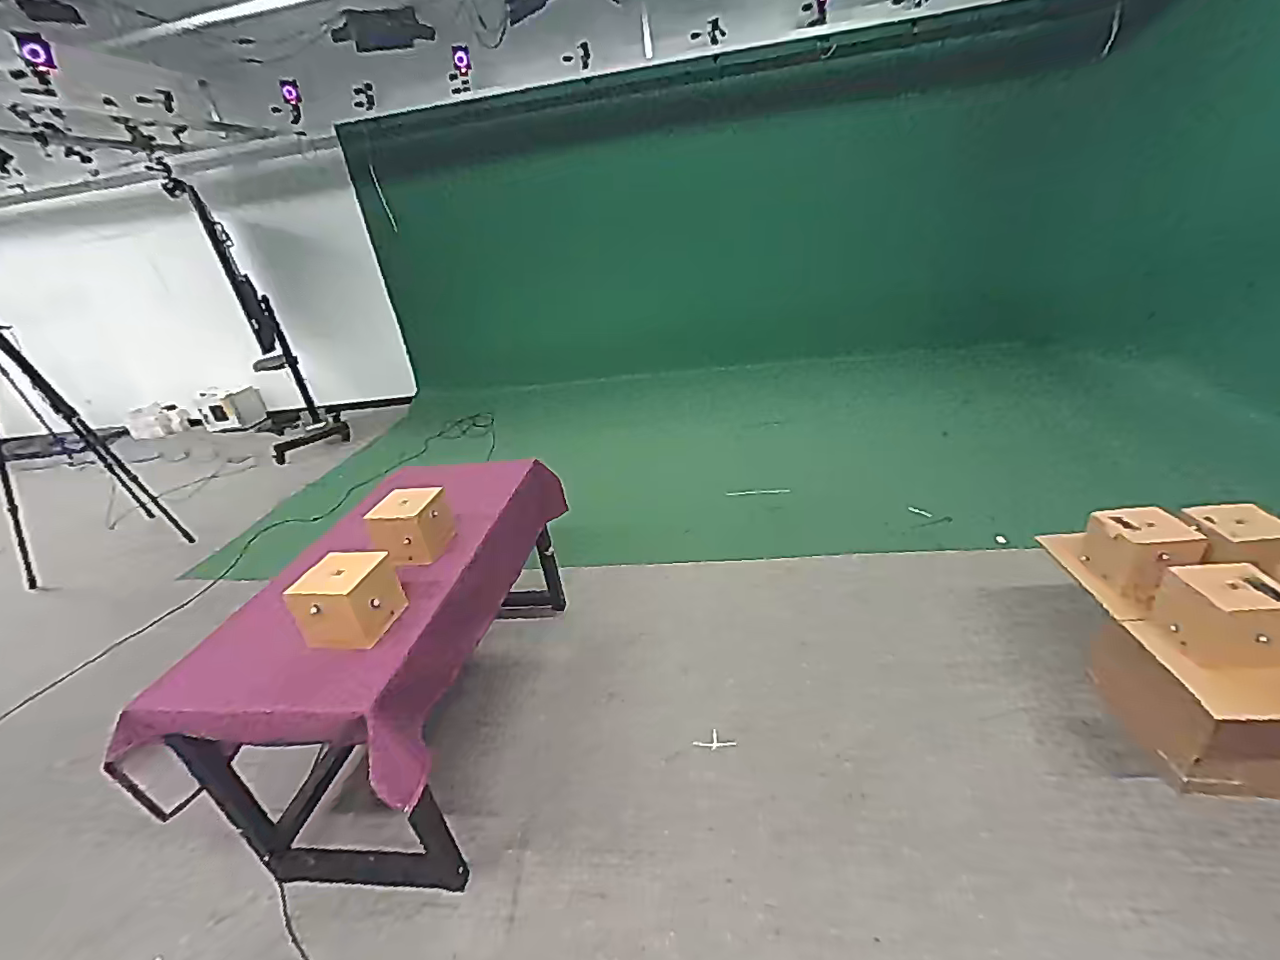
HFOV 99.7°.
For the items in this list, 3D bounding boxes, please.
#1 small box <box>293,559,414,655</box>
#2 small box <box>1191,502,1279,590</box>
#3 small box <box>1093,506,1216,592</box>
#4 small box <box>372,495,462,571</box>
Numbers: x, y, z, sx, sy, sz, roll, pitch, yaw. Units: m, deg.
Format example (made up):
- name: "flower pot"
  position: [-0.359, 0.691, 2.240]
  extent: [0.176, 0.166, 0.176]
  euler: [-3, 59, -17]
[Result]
- name: "small box"
  position: [-0.693, 0.313, 1.334]
  extent: [0.179, 0.176, 0.168]
  euler: [-4, 26, 14]
- name: "small box"
  position: [1.589, 0.174, 1.425]
  extent: [0.179, 0.176, 0.168]
  euler: [-4, 25, 7]
- name: "small box"
  position: [1.378, 0.188, 1.467]
  extent: [0.179, 0.176, 0.168]
  euler: [-6, 26, 5]
- name: "small box"
  position: [-0.661, 0.161, 1.630]
  extent: [0.168, 0.176, 0.179]
  euler: [-3, 26, 12]
